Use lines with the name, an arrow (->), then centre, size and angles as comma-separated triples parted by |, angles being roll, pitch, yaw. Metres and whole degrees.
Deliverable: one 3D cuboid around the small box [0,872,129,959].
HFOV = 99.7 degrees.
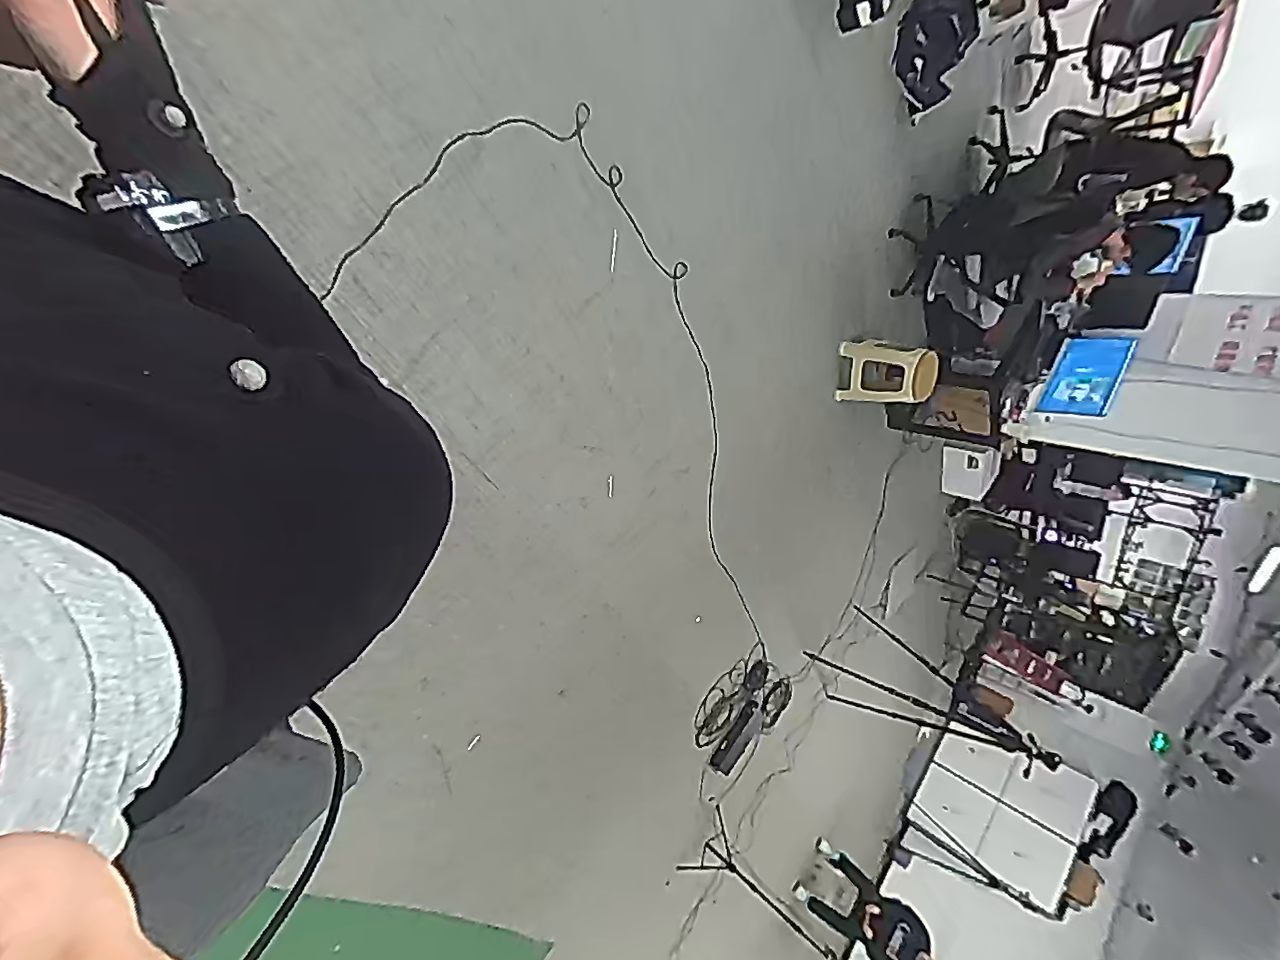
small box -> -0.734, 0.582, 0.603 | 0.179, 0.176, 0.168 | -54, 134, -17
